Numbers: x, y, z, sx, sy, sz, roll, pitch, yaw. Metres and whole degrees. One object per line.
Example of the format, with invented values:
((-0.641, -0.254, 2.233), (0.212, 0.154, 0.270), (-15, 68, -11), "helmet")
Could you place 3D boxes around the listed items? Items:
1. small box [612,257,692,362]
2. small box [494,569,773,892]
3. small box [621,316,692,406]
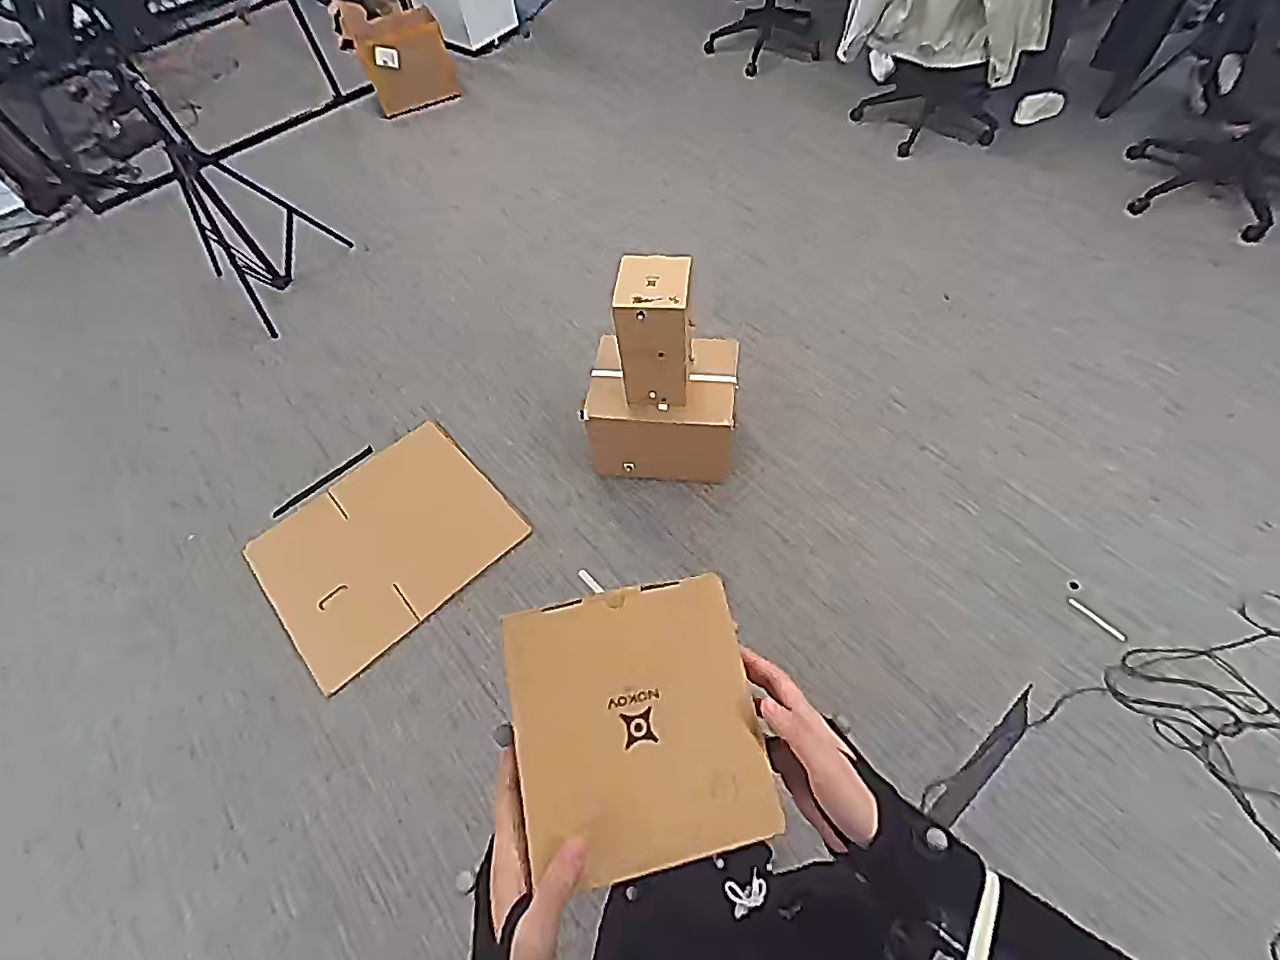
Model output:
((0.035, -0.406, 1.290), (0.168, 0.176, 0.179), (3, 59, 8), "small box")
((-0.014, 0.188, 0.441), (0.168, 0.176, 0.179), (-10, 68, -9), "small box")
((0.048, -0.320, 1.429), (0.168, 0.176, 0.179), (4, 60, 8), "small box")
